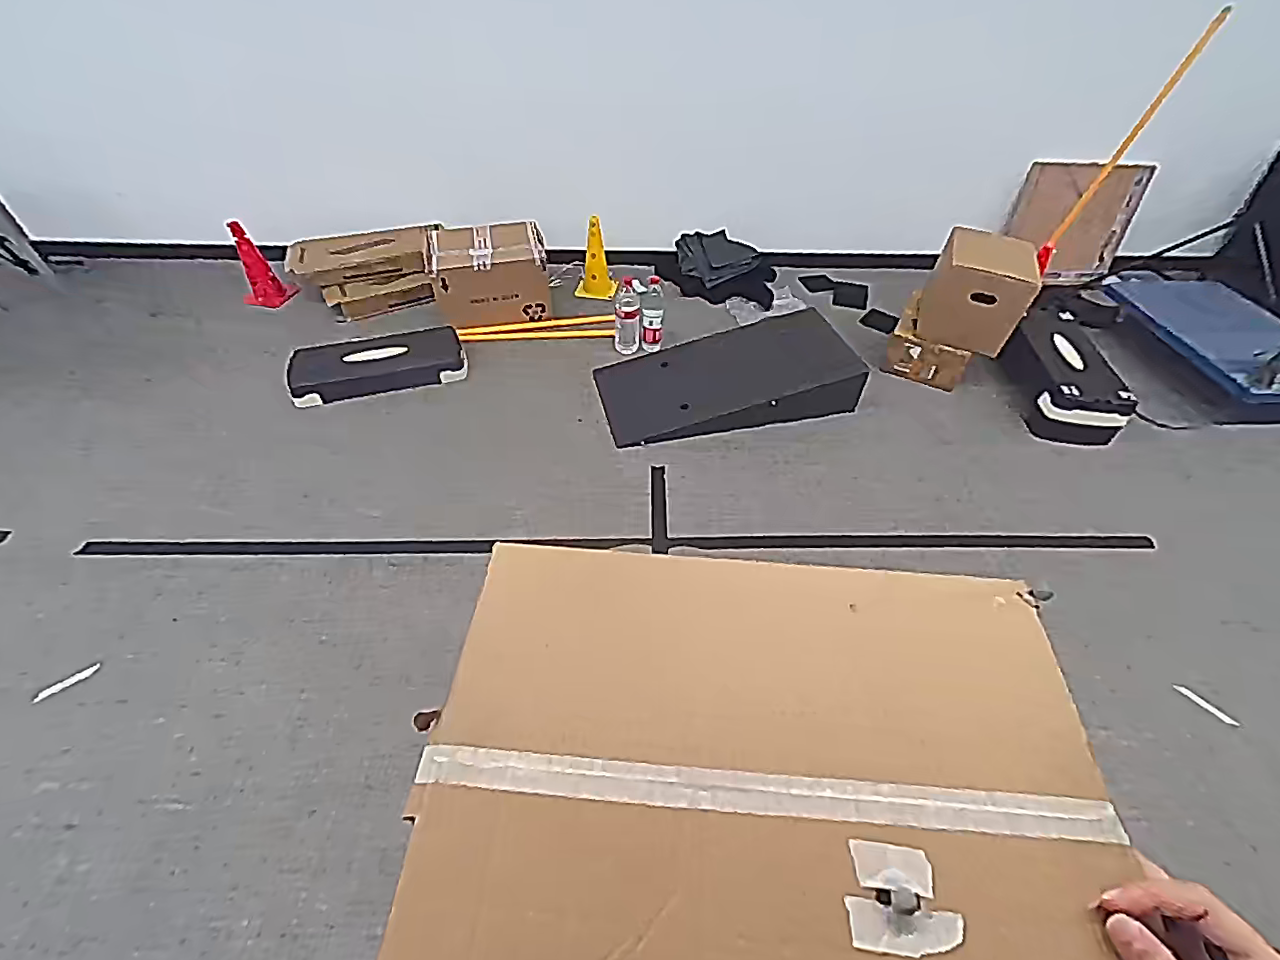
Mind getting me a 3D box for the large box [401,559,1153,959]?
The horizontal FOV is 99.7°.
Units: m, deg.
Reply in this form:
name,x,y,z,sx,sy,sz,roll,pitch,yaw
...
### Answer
name,x,y,z,sx,sy,sz,roll,pitch,yaw
large box,0.073,0.284,0.447,0.408,0.320,0.320,4,53,2
